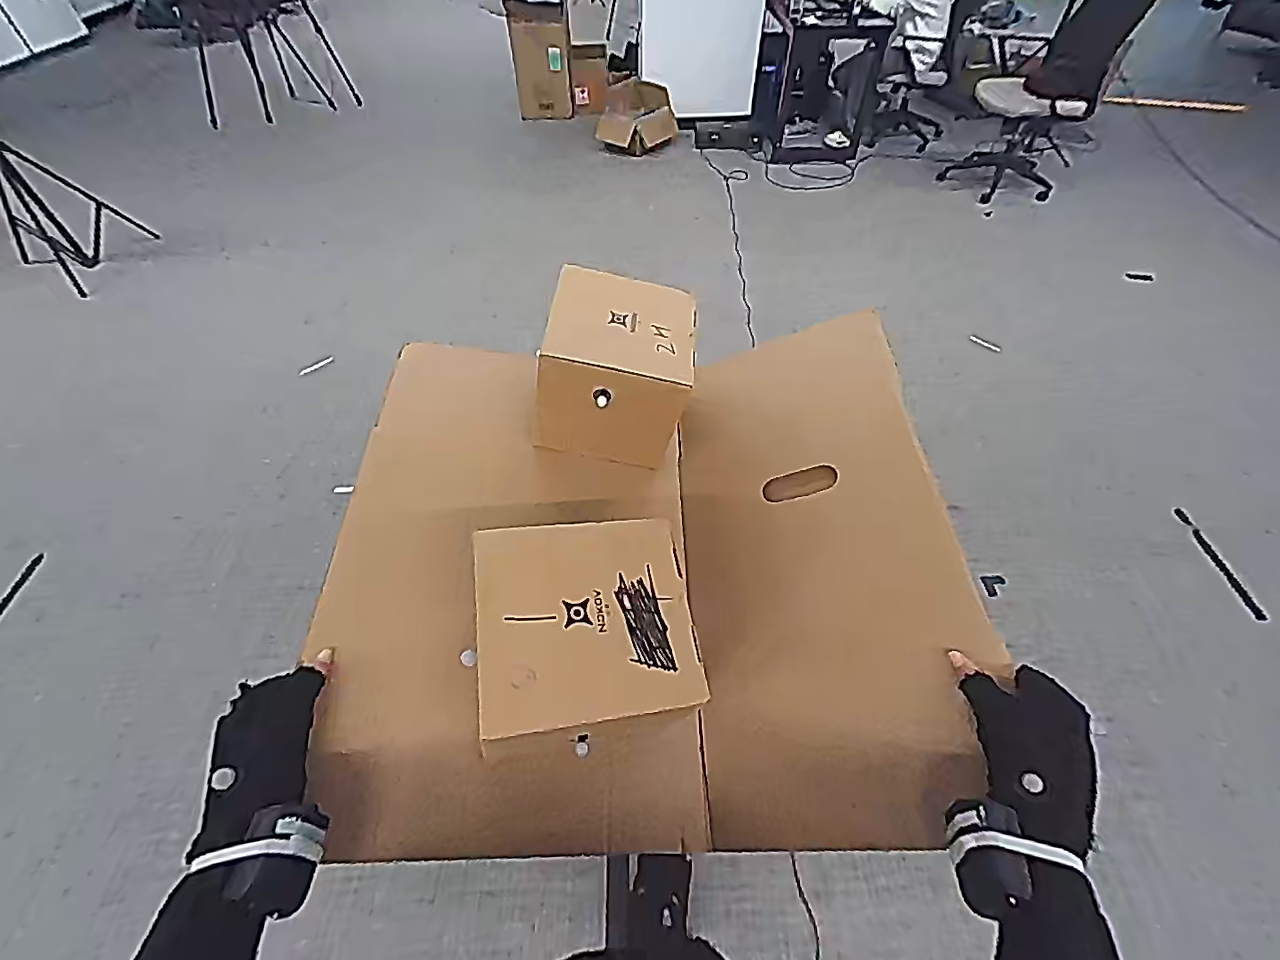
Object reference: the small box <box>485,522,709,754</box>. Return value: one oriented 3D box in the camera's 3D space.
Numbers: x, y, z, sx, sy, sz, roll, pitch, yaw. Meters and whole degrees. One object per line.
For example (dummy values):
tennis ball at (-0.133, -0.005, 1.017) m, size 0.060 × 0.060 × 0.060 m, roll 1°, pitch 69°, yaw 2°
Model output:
small box at (-0.056, 0.153, 0.519) m, size 0.179 × 0.176 × 0.168 m, roll -2°, pitch 58°, yaw -15°

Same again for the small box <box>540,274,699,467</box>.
small box at (-0.031, -0.137, 0.717) m, size 0.179 × 0.176 × 0.168 m, roll 12°, pitch 55°, yaw -7°
